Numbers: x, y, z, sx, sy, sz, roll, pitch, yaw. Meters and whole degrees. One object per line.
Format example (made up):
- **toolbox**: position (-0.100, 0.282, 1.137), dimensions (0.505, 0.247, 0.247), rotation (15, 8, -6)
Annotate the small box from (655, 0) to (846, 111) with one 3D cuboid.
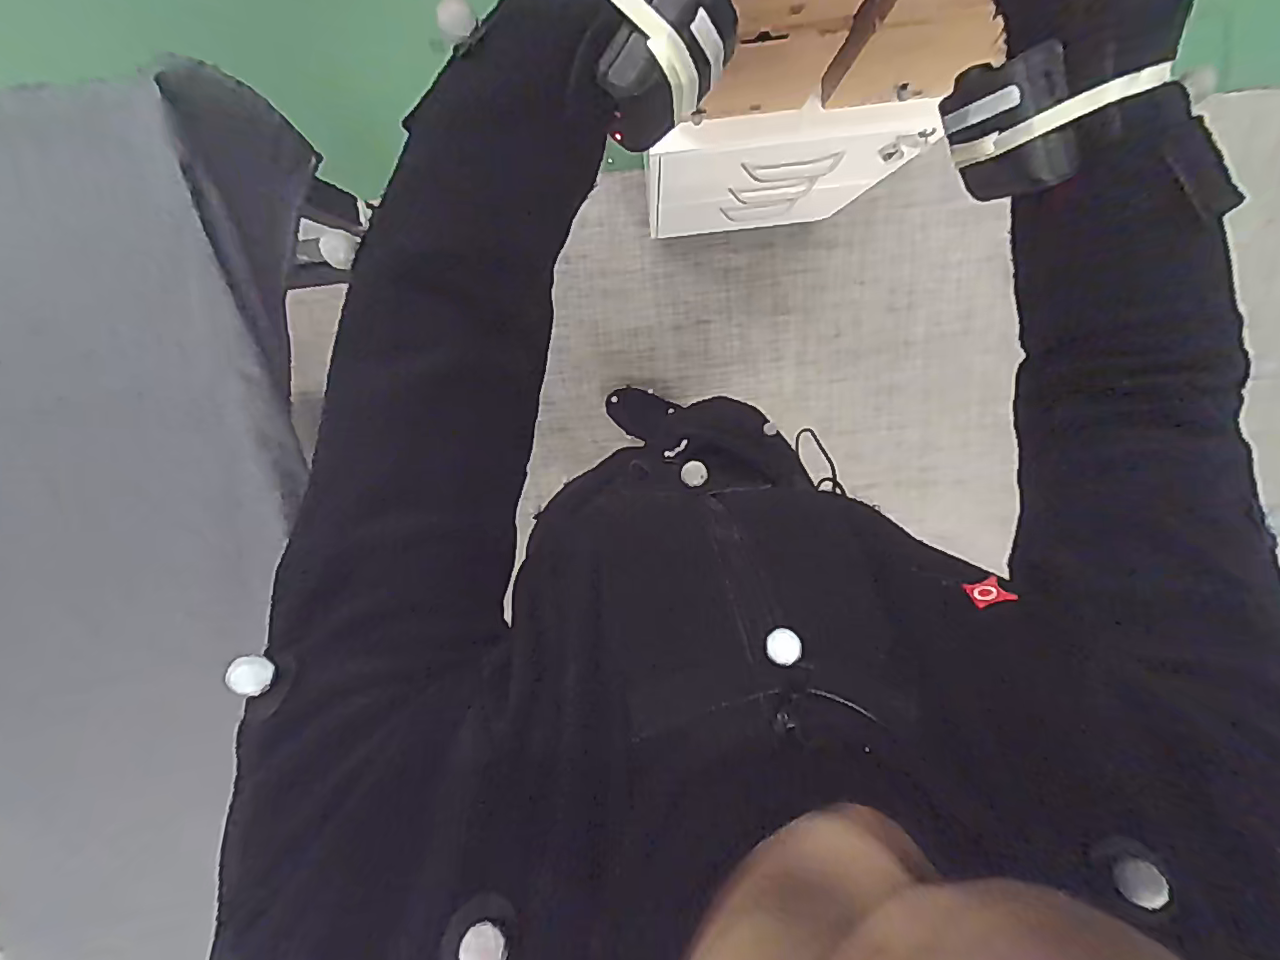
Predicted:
- **small box**: position (0.102, -0.509, 0.556), dimensions (0.168, 0.176, 0.179), rotation (-5, 103, 1)
